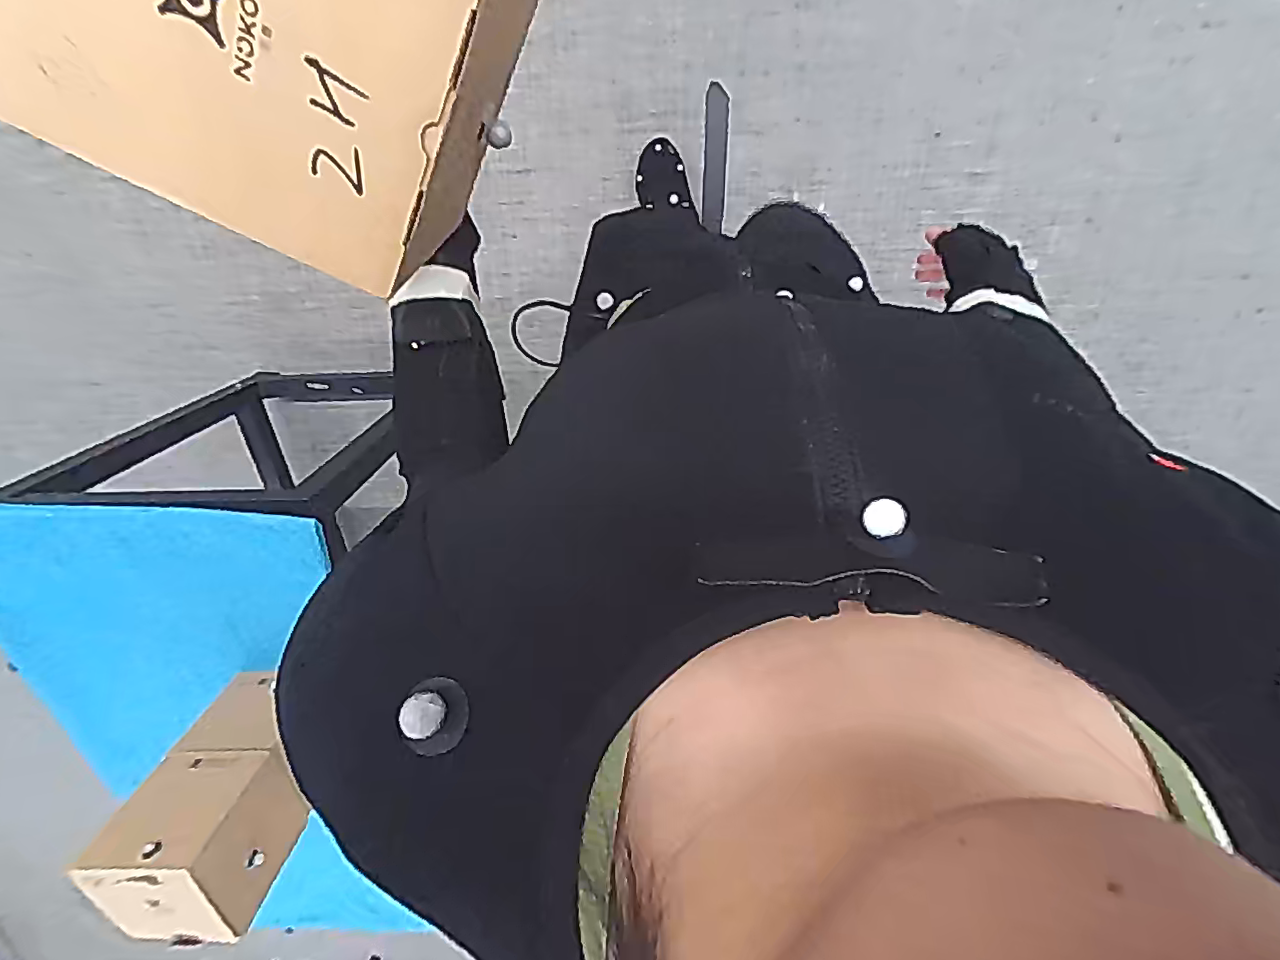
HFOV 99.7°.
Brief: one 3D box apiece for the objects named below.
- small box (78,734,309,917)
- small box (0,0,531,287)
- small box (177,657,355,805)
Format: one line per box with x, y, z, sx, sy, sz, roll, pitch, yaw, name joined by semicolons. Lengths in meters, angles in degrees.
-0.638;0.508;0.803;0.168;0.176;0.179;-4;117;6;small box
-0.171;-0.238;0.273;0.179;0.176;0.168;25;124;-24;small box
-0.636;0.438;0.950;0.168;0.176;0.179;-1;119;3;small box
